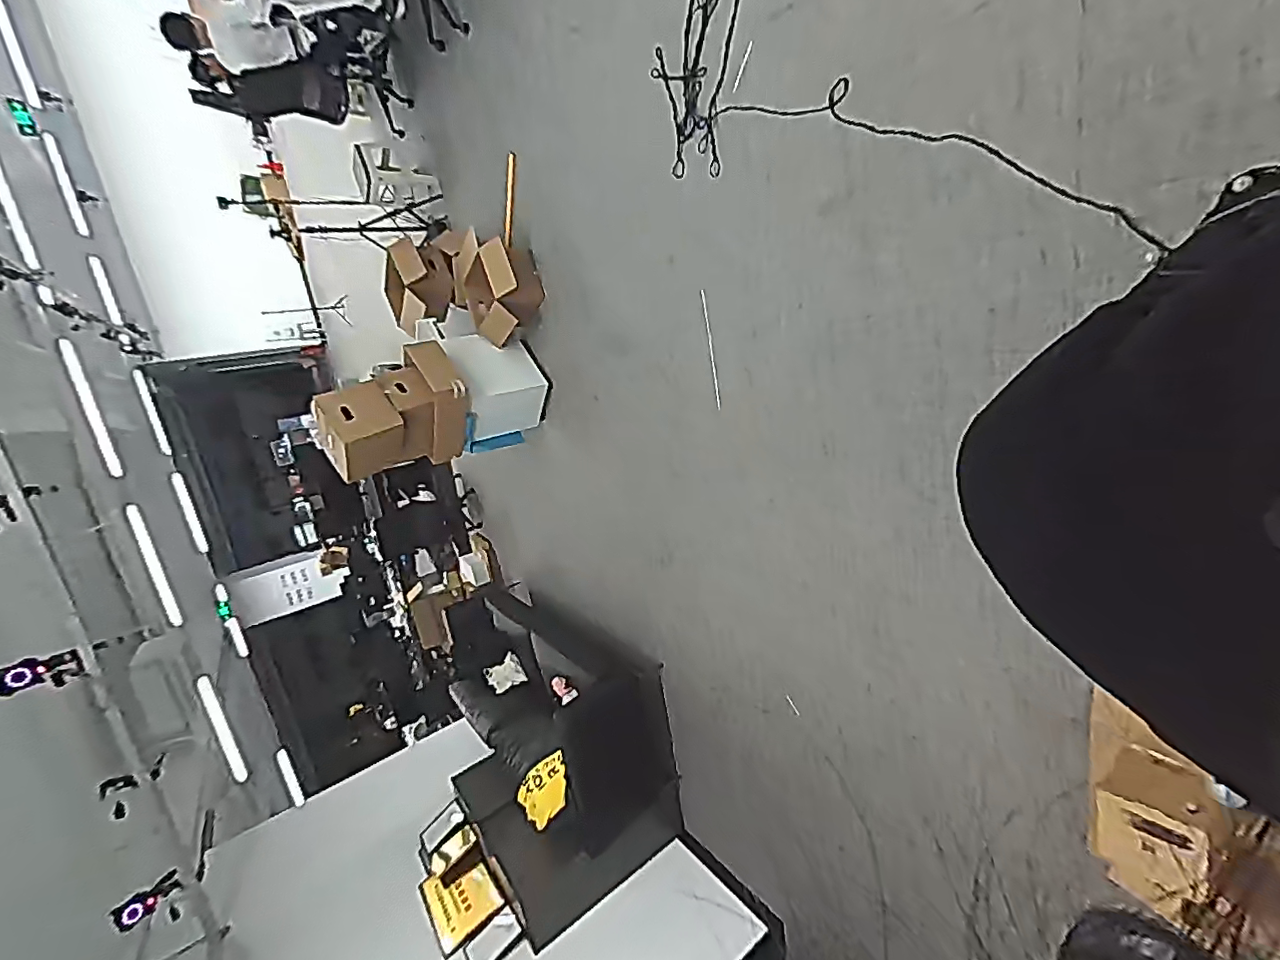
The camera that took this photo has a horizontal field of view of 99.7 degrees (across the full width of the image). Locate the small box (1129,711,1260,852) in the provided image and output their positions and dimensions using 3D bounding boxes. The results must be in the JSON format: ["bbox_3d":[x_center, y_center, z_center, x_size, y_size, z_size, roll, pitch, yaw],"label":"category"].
[{"bbox_3d":[1.223,0.651,1.193,0.168,0.176,0.179,16,119,53],"label":"small box"}]

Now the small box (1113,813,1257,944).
[{"bbox_3d":[1.263,0.897,1.254,0.179,0.176,0.168,32,131,47],"label":"small box"}]
